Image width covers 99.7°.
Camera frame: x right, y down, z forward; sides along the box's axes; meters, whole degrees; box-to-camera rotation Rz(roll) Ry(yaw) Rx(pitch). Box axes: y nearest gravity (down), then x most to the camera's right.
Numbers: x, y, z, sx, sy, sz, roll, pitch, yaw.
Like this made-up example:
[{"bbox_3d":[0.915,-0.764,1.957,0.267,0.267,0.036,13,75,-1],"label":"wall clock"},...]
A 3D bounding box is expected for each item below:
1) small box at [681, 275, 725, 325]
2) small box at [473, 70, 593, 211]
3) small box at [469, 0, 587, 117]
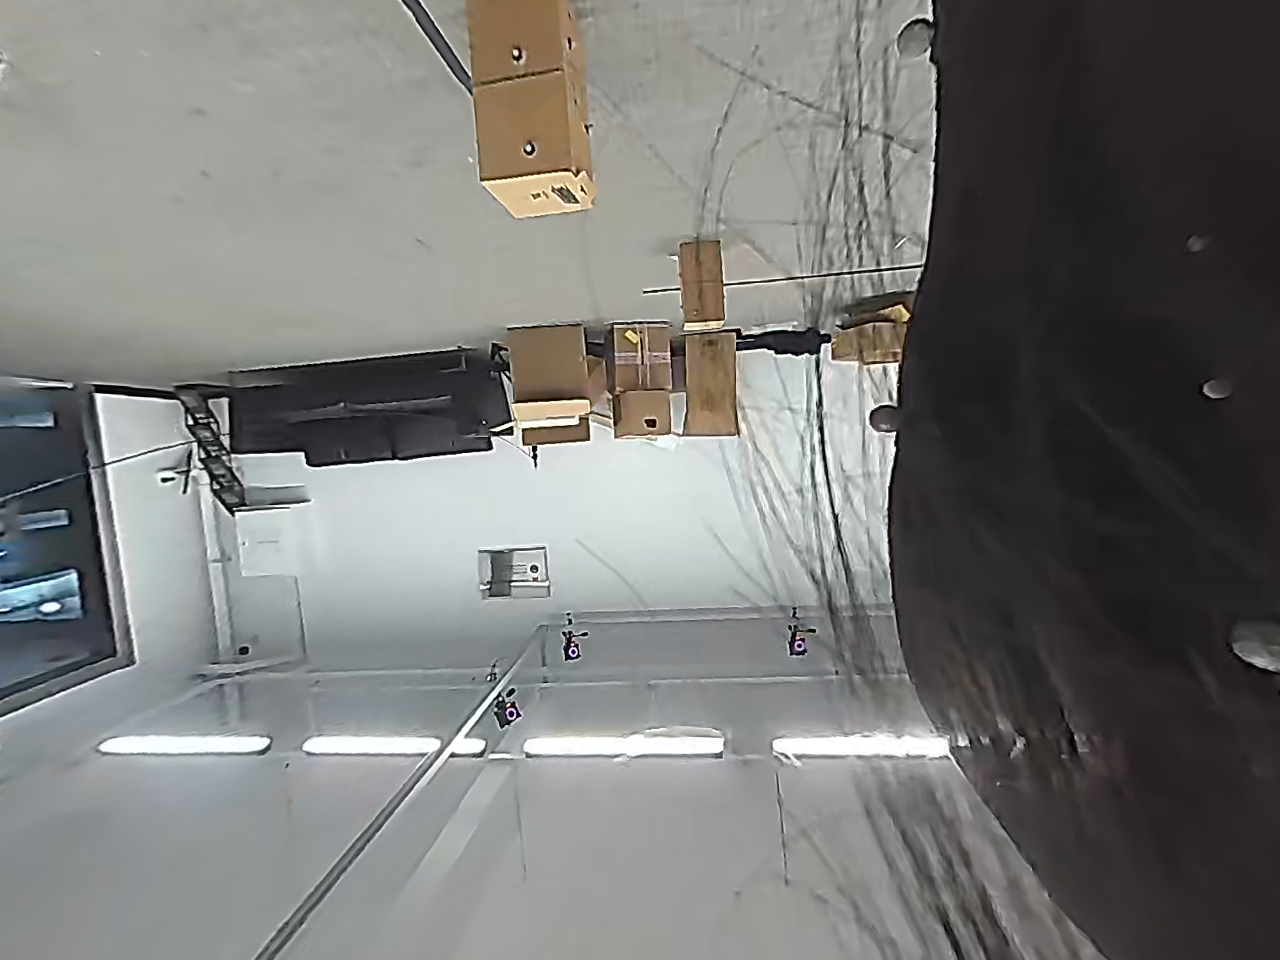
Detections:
[{"bbox_3d":[0.271,-0.784,2.363,0.179,0.176,0.168,-4,-174,3],"label":"small box"},{"bbox_3d":[-0.199,-0.640,1.029,0.179,0.176,0.168,-2,-175,10],"label":"small box"},{"bbox_3d":[-0.209,-0.804,1.021,0.179,0.176,0.168,-2,-176,11],"label":"small box"}]
